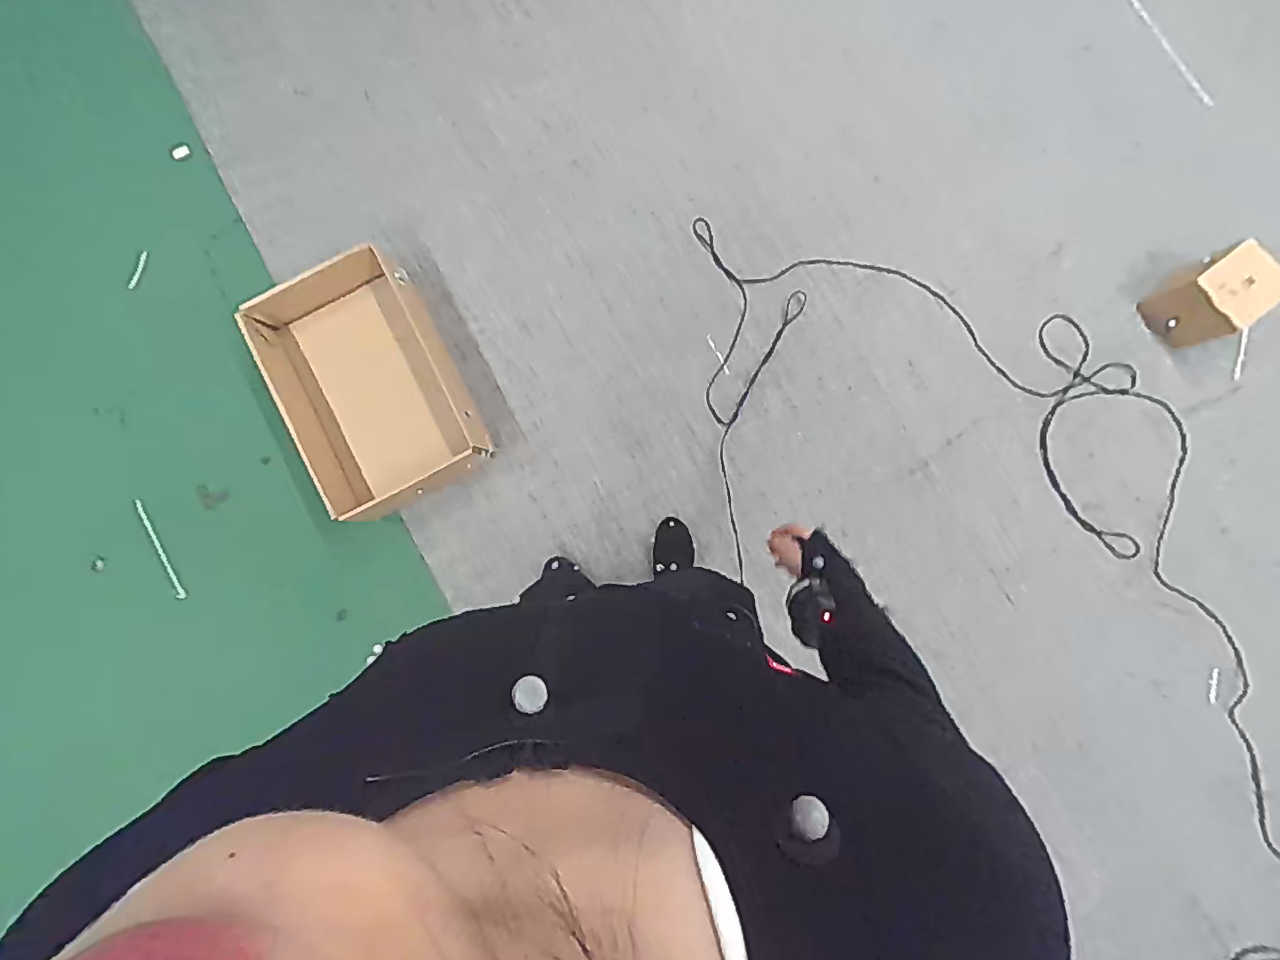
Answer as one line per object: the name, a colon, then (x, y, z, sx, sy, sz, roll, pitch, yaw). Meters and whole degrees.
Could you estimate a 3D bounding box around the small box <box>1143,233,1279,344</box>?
small box: (1.463, -0.478, 1.377, 0.179, 0.176, 0.168, -39, 86, 1)
